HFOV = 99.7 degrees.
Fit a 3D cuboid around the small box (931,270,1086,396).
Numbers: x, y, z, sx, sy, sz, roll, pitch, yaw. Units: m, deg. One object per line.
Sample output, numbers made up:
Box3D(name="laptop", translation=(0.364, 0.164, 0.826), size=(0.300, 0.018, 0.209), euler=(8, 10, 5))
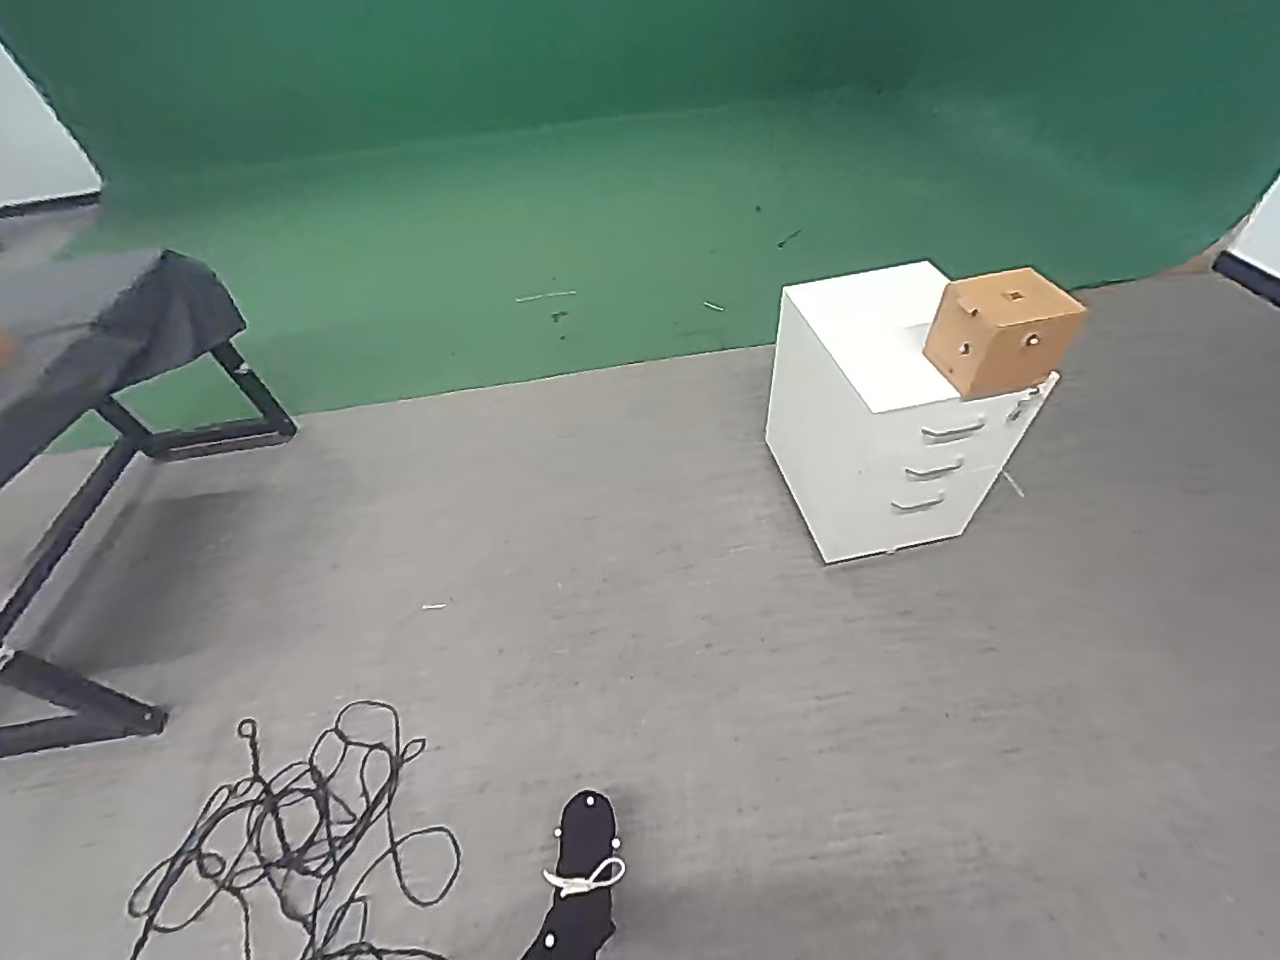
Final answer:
Box3D(name="small box", translation=(0.704, -0.285, 1.066), size=(0.179, 0.176, 0.168), euler=(-11, 49, -3))
